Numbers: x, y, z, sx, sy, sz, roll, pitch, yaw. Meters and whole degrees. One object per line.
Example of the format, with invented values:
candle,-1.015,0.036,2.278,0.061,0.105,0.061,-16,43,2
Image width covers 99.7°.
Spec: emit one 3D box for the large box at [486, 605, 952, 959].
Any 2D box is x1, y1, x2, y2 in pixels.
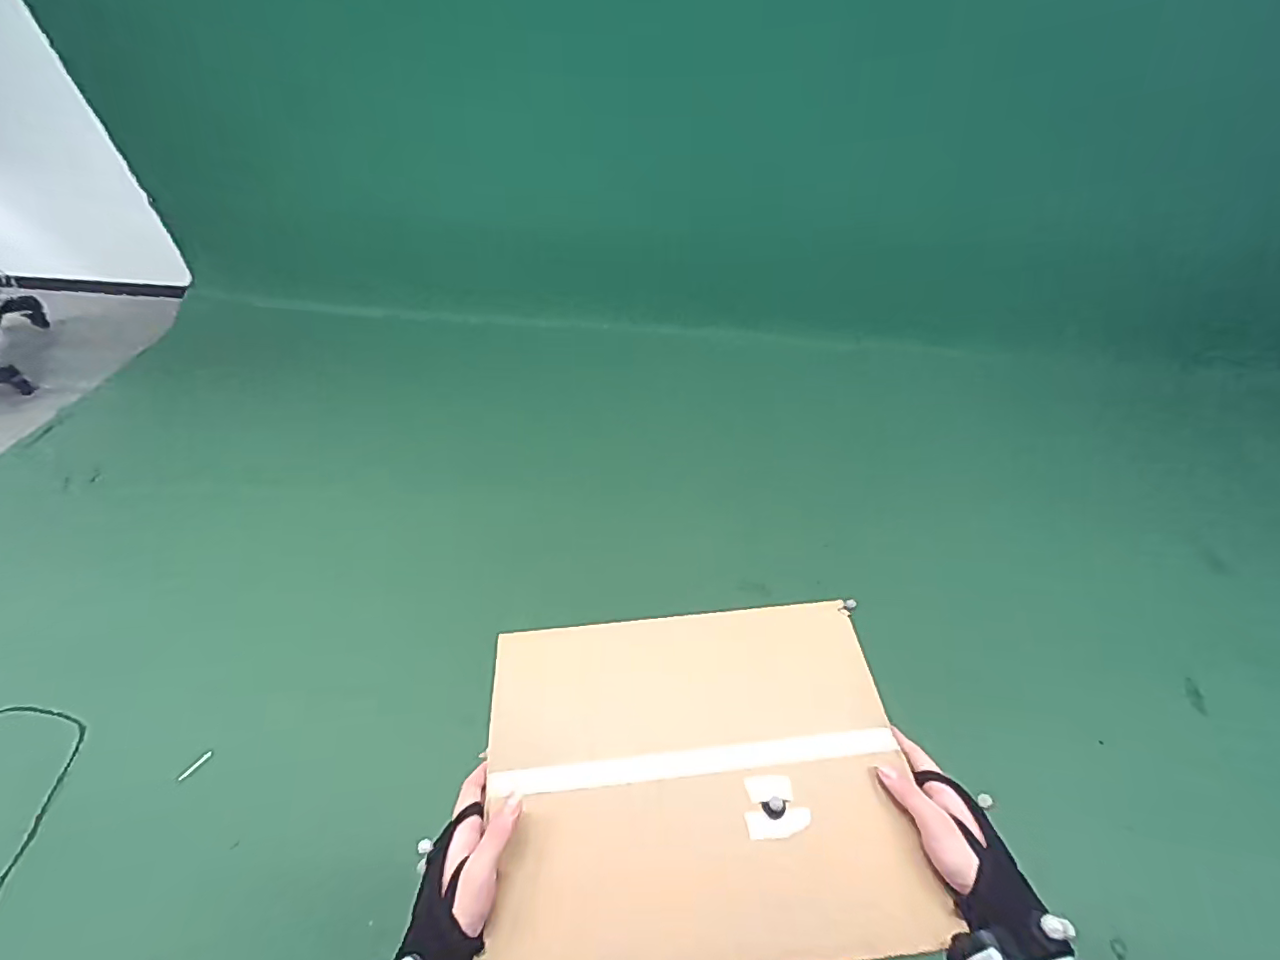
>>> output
large box,0.054,0.382,0.651,0.408,0.320,0.320,-5,49,-3
